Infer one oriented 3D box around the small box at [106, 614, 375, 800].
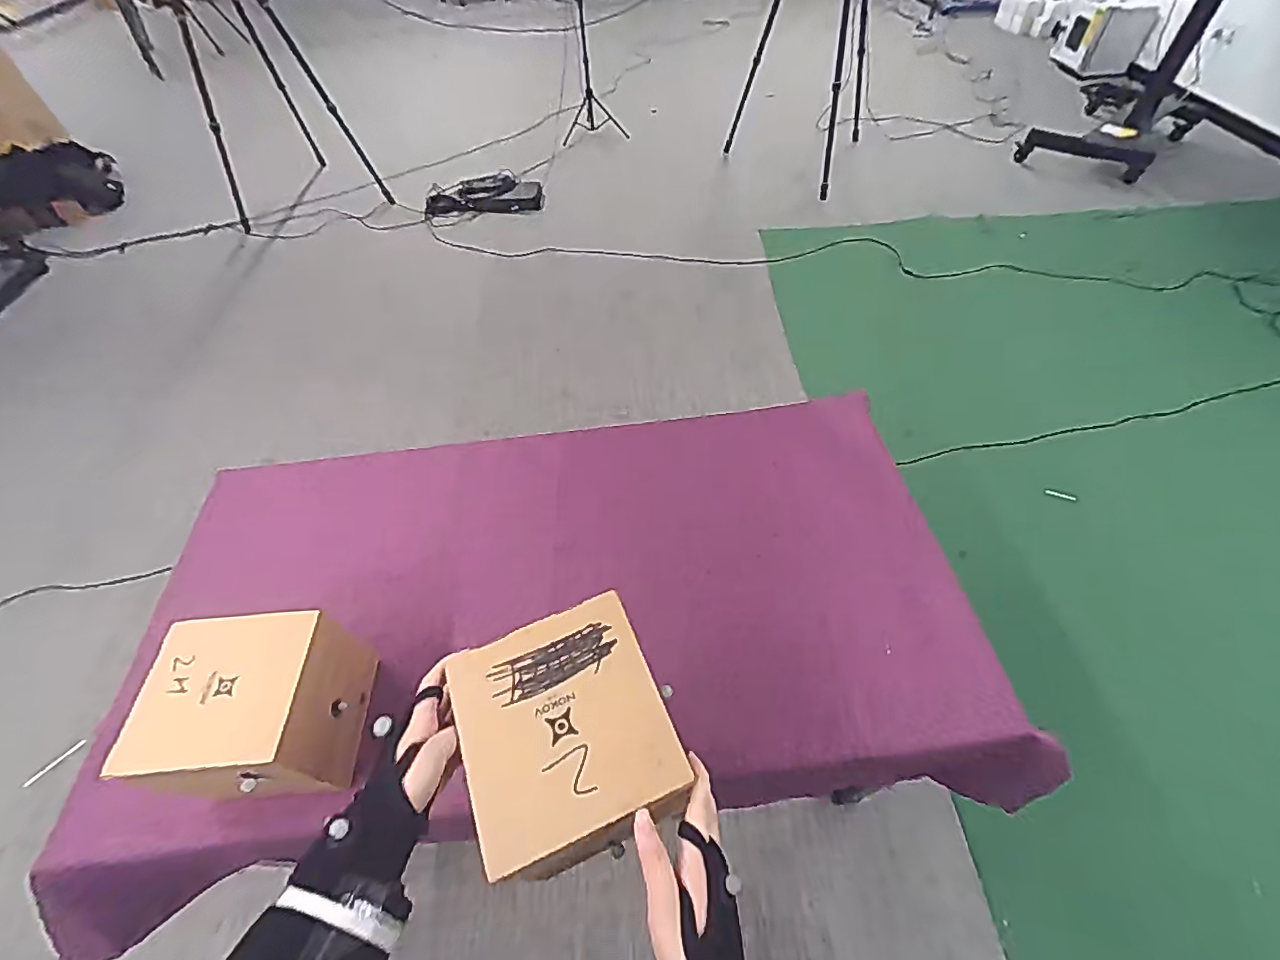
[{"bbox_3d":[-0.454,0.278,0.656,0.179,0.176,0.168,-5,51,0],"label":"small box"}]
